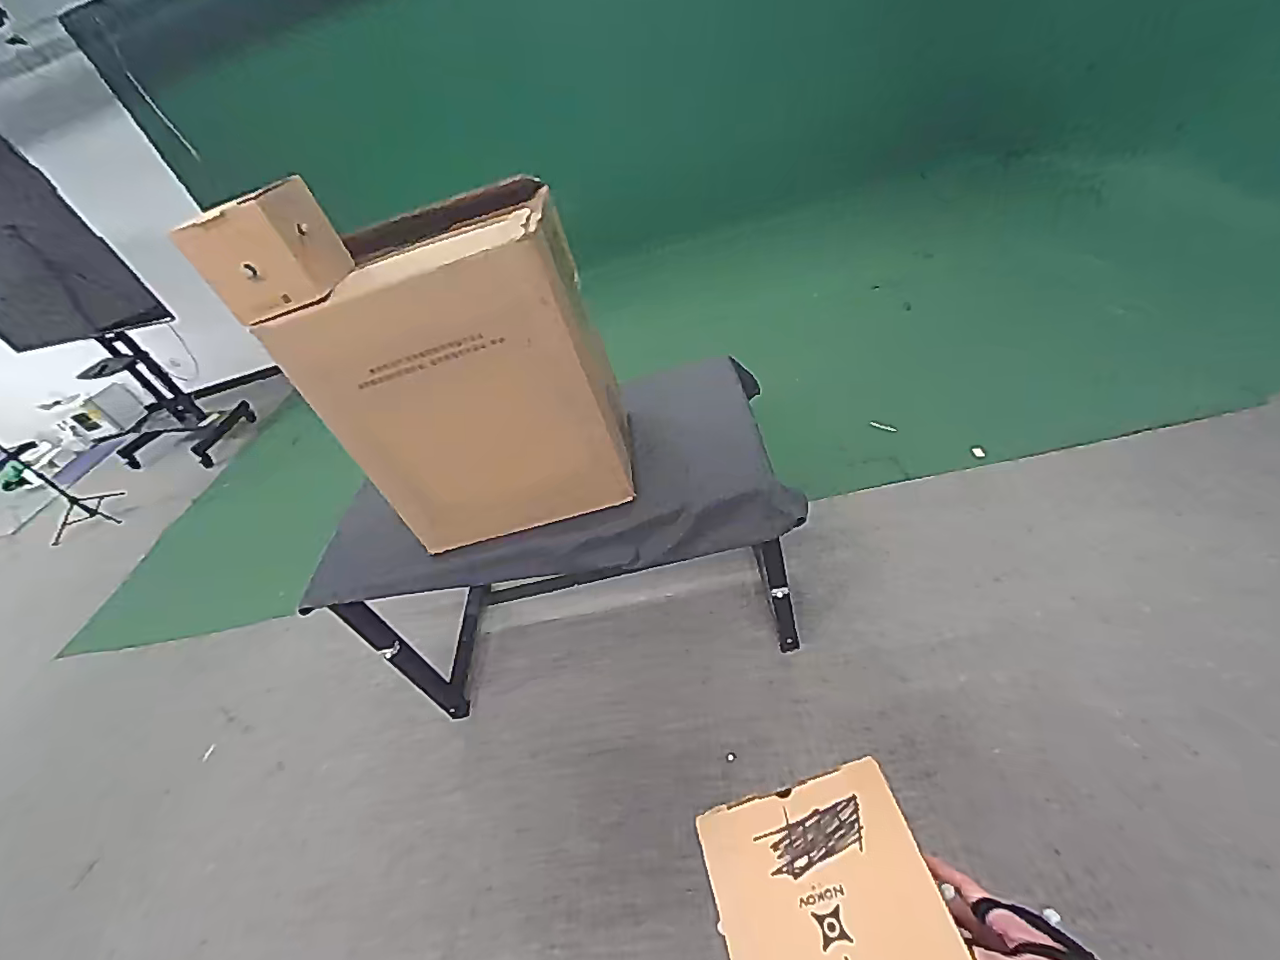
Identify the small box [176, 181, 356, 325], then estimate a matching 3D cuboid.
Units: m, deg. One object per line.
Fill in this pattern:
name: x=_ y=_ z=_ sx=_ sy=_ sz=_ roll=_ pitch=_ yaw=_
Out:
small box: x=-0.645 y=-0.396 z=0.962 sx=0.168 sy=0.176 sz=0.179 roll=-16 pitch=40 yaw=9
